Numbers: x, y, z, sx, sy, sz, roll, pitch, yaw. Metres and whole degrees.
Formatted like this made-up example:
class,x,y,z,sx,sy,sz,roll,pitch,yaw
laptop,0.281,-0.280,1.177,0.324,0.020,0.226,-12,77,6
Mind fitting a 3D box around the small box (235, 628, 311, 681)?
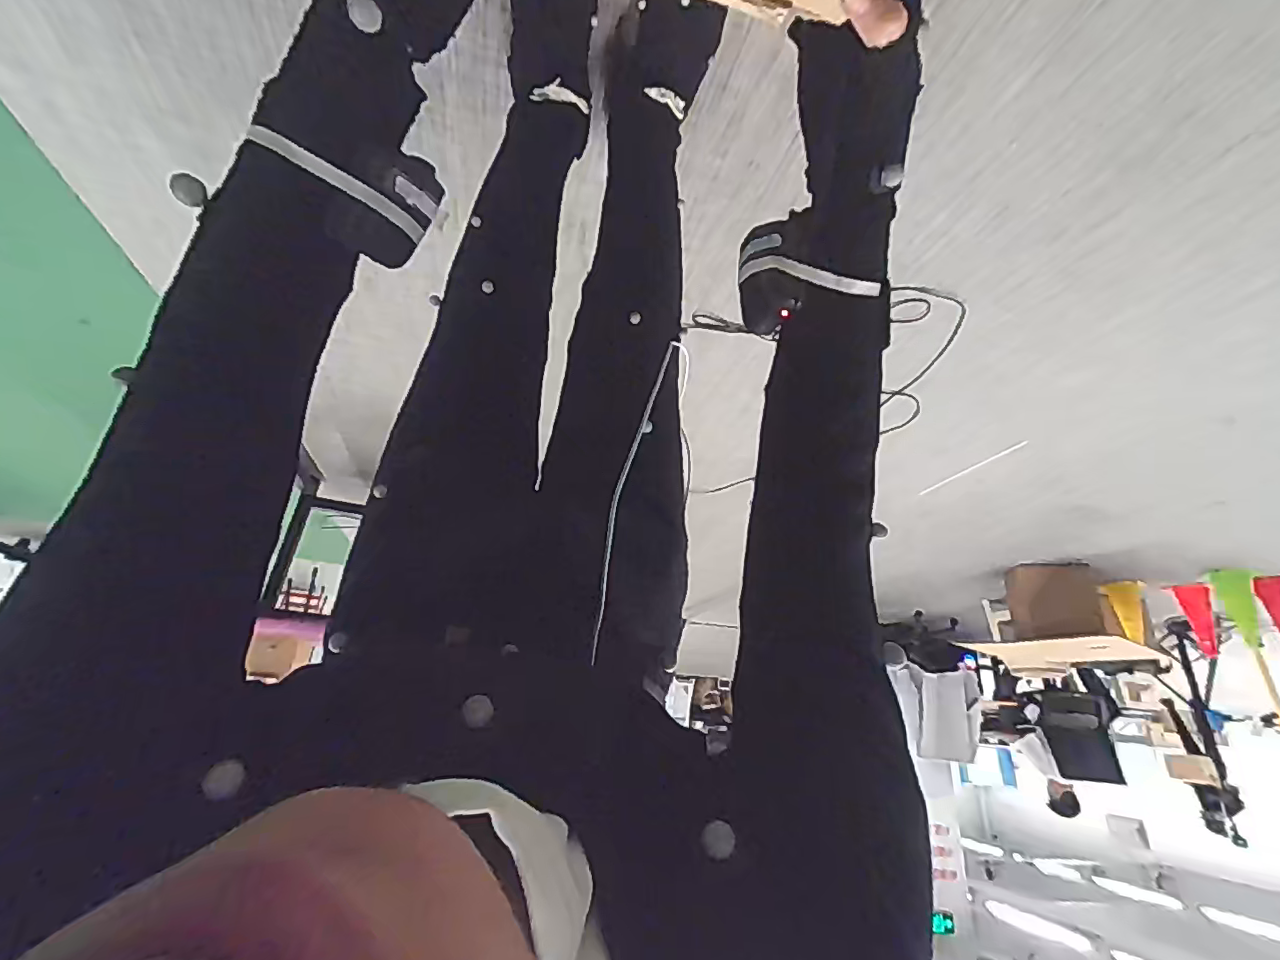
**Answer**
class,x,y,z,sx,sy,sz,roll,pitch,yaw
small box,-1.371,0.659,2.036,0.168,0.176,0.179,9,156,-12
